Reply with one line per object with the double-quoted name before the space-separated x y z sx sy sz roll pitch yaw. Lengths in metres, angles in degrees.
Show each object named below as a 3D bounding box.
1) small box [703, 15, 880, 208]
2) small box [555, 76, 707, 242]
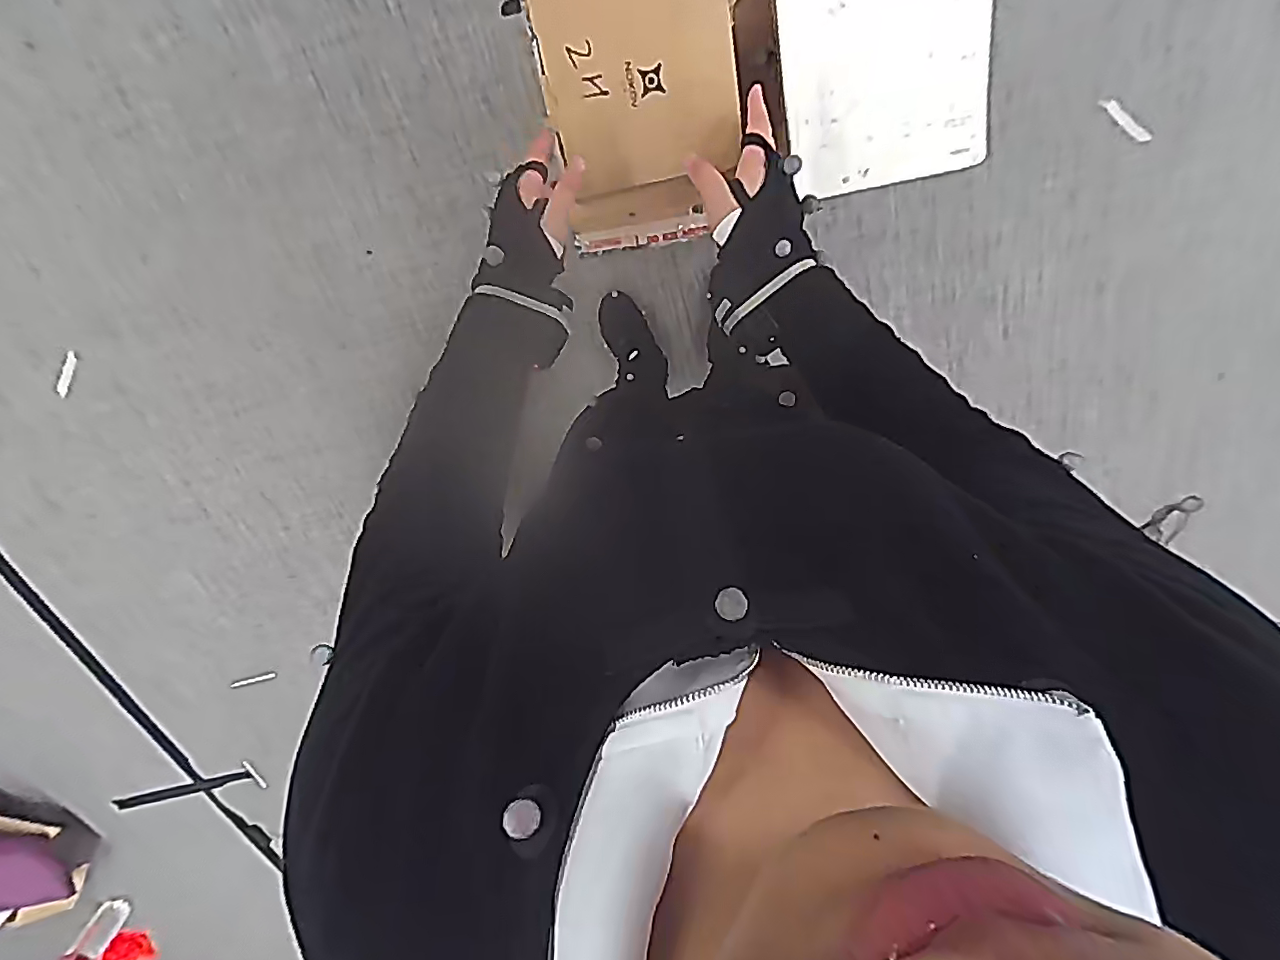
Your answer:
"small box" 0.199 -0.483 0.737 0.179 0.176 0.168 -17 115 2
"small box" -0.011 -0.431 0.745 0.179 0.176 0.168 -8 116 1
